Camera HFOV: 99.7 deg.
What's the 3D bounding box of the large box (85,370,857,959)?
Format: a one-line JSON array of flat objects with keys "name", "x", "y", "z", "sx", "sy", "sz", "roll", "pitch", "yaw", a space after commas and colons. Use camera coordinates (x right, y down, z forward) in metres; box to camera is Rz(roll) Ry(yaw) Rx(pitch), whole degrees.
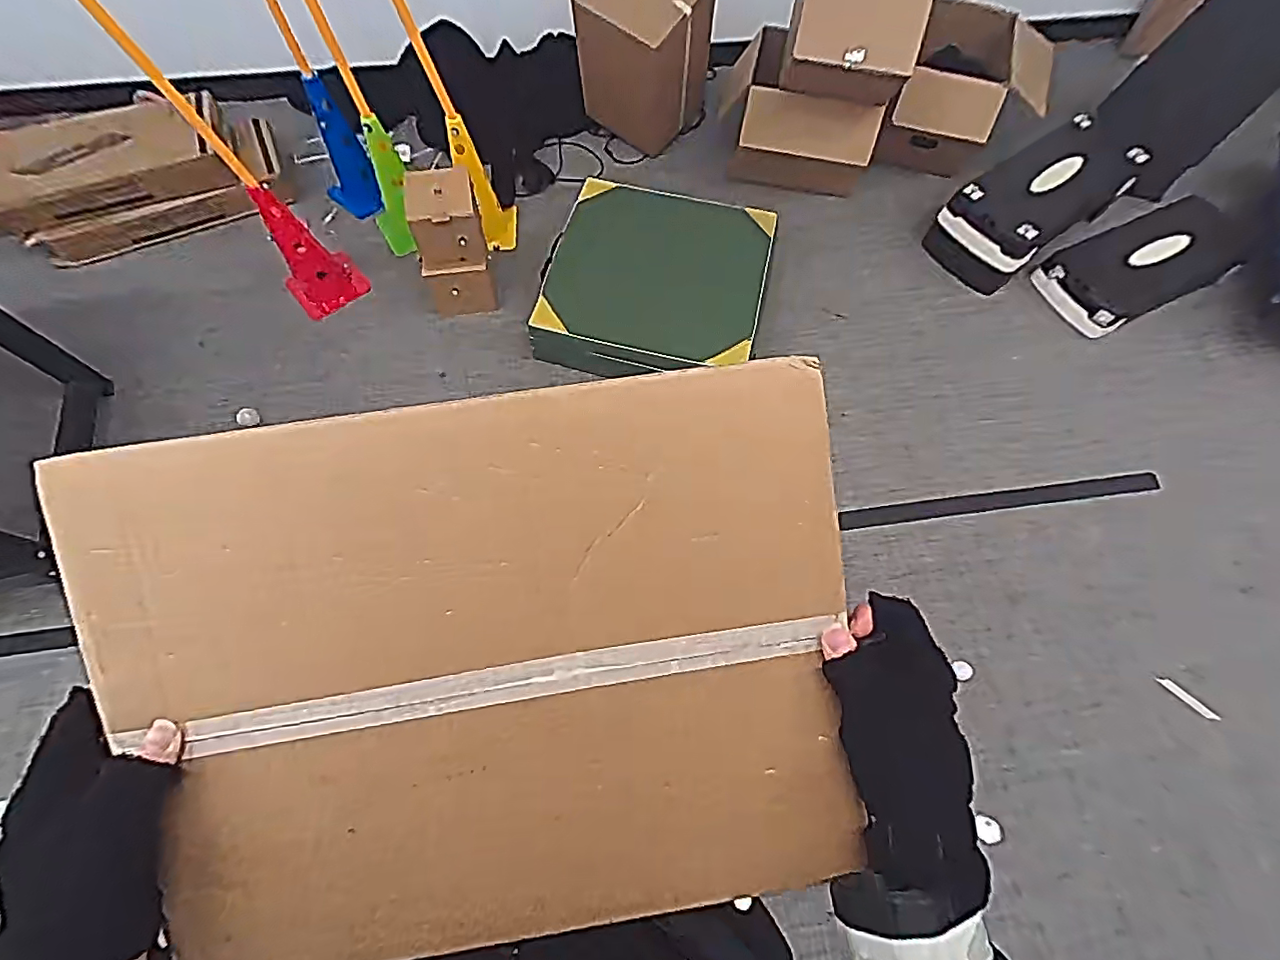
[{"name": "large box", "x": -0.092, "y": 0.105, "z": 0.460, "sx": 0.408, "sy": 0.320, "sz": 0.320, "roll": -9, "pitch": 97, "yaw": -3}]
